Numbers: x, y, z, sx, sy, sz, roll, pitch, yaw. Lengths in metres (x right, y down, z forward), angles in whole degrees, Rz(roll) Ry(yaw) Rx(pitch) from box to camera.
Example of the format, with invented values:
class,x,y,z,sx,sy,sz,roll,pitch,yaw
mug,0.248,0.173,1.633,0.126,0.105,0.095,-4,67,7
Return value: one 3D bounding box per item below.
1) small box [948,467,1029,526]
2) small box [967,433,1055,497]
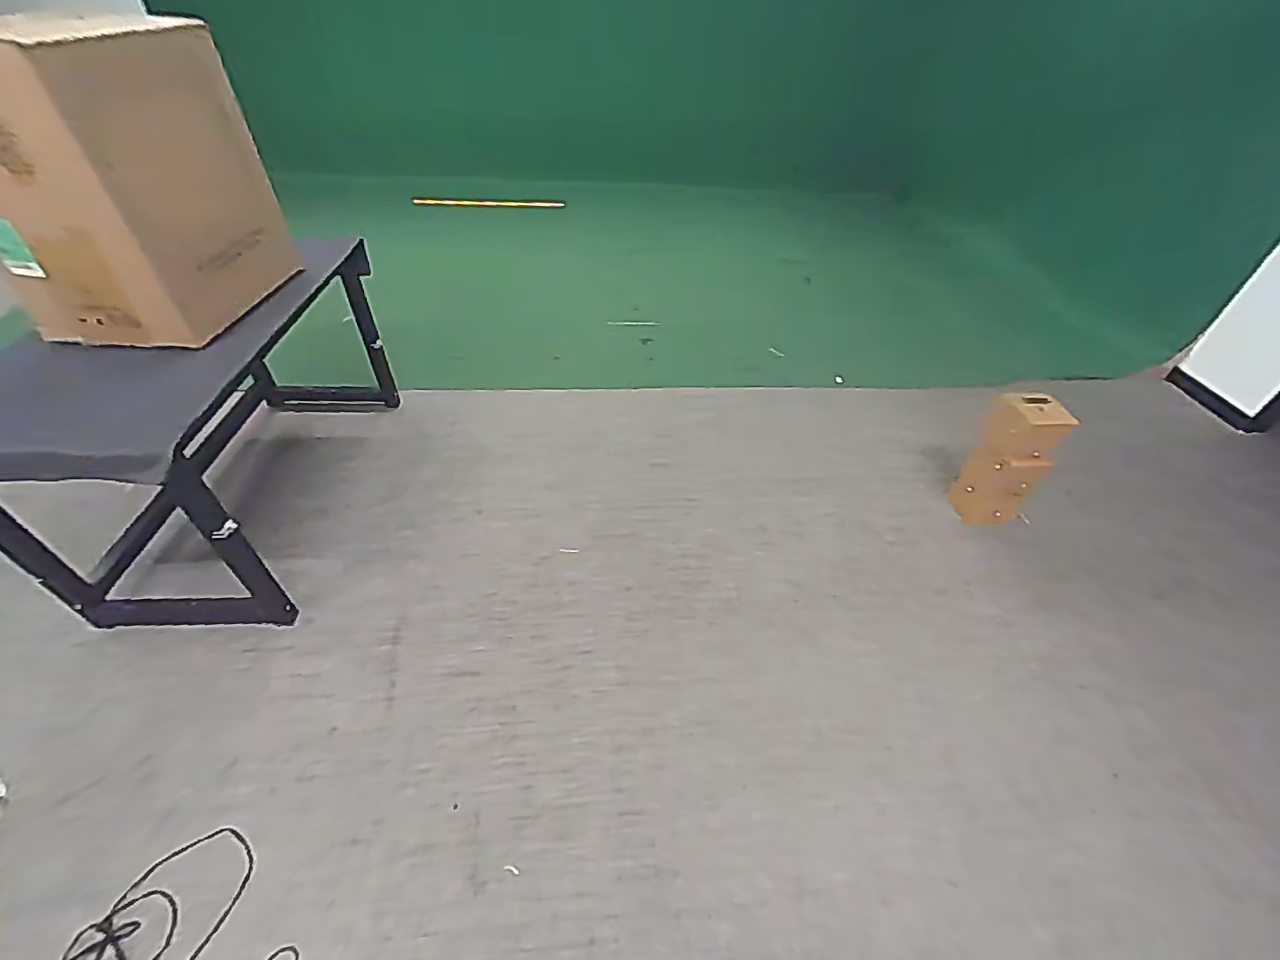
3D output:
class,x,y,z,sx,sy,sz,roll,pitch,yaw
small box,1.334,0.066,2.082,0.168,0.176,0.179,-3,44,-6
small box,1.339,-0.049,1.964,0.168,0.176,0.179,-2,44,-6
